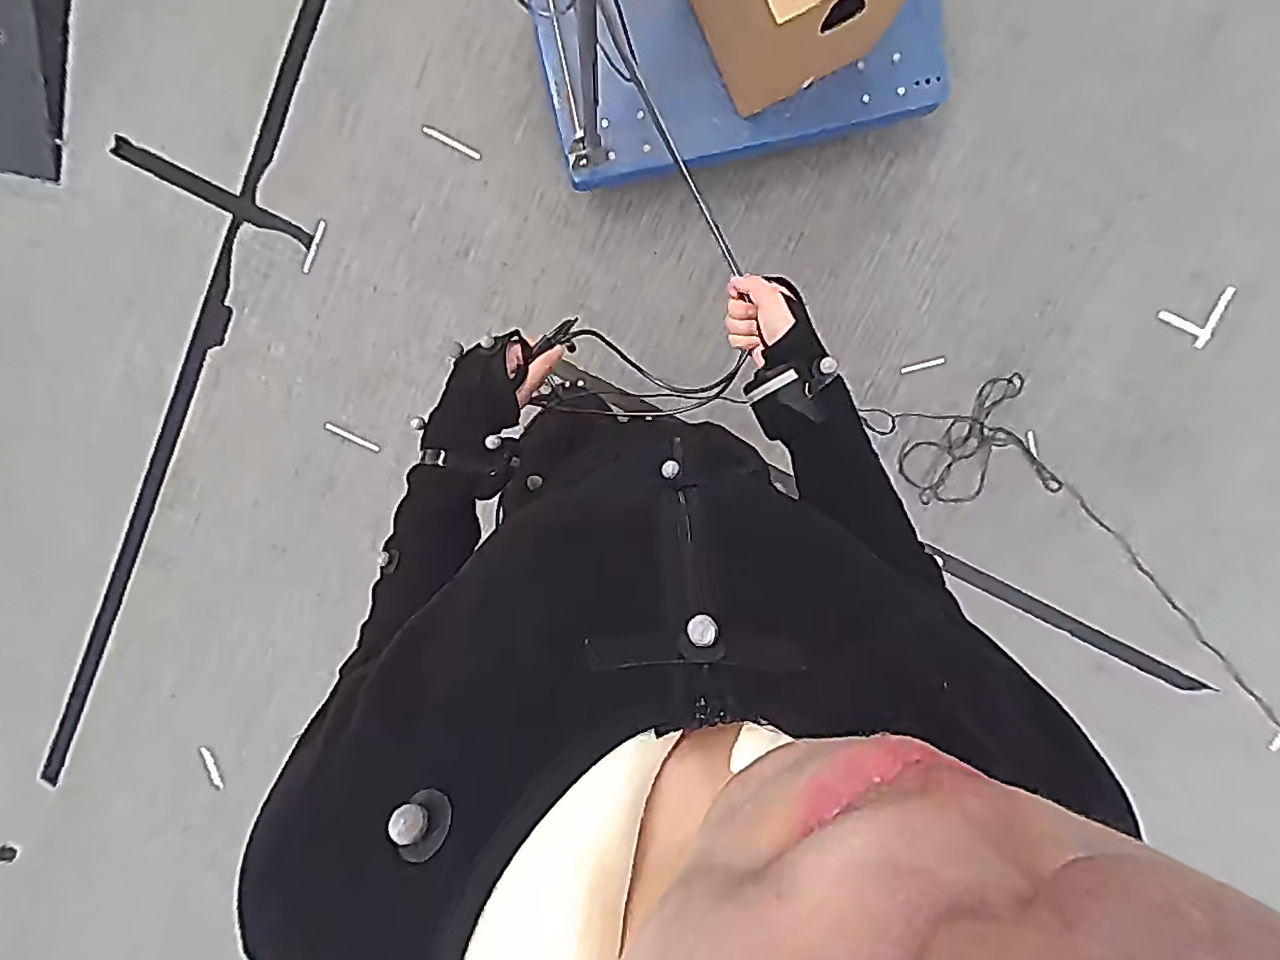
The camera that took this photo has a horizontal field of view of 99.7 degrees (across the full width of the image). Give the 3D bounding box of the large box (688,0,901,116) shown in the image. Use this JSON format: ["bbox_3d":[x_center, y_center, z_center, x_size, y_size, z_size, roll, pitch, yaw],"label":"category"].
[{"bbox_3d":[0.271,-1.018,1.016,0.320,0.320,0.408,-27,99,4],"label":"large box"}]
